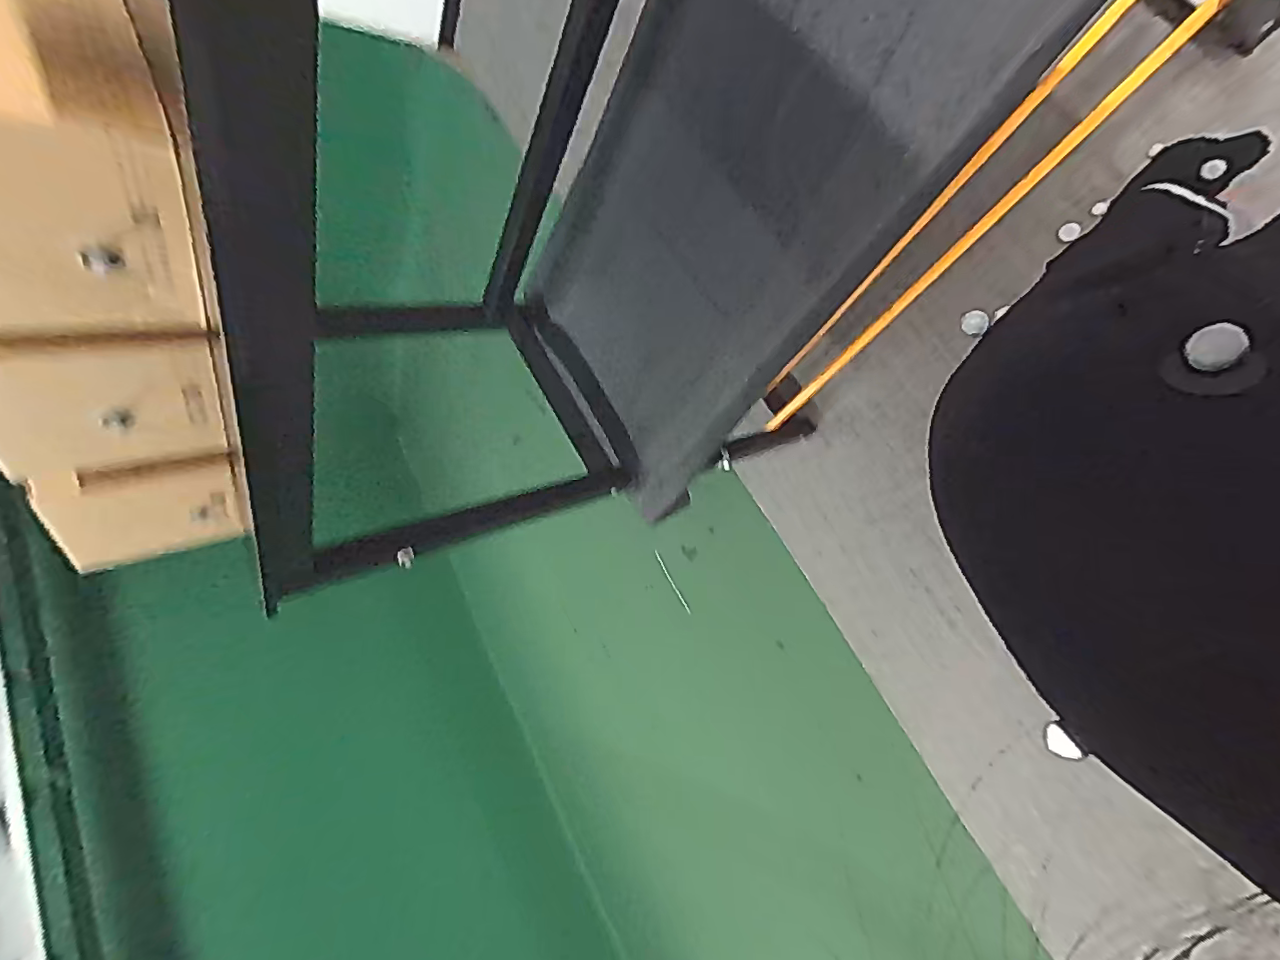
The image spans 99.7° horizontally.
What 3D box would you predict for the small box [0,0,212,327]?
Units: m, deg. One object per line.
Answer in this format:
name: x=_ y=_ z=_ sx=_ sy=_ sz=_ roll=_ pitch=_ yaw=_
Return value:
small box: x=-0.419 y=-0.218 z=0.368 sx=0.179 sy=0.176 sz=0.168 roll=59 pitch=139 yaw=16
